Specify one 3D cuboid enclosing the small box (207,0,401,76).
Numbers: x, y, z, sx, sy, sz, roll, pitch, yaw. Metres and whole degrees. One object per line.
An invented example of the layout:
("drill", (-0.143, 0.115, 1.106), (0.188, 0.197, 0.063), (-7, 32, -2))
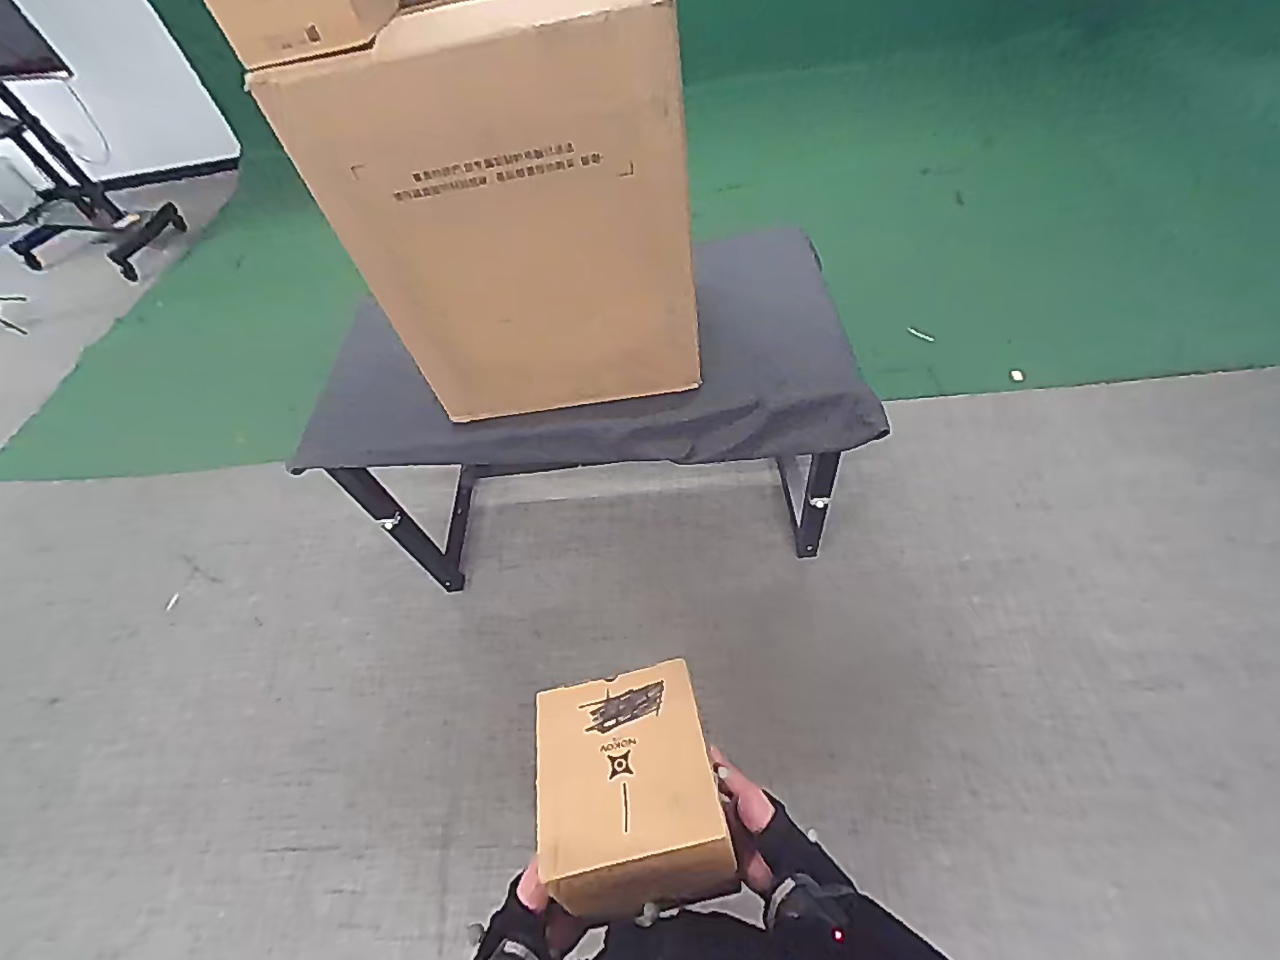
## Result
("small box", (-0.419, -0.622, 0.658), (0.168, 0.176, 0.179), (-7, 53, 5))
